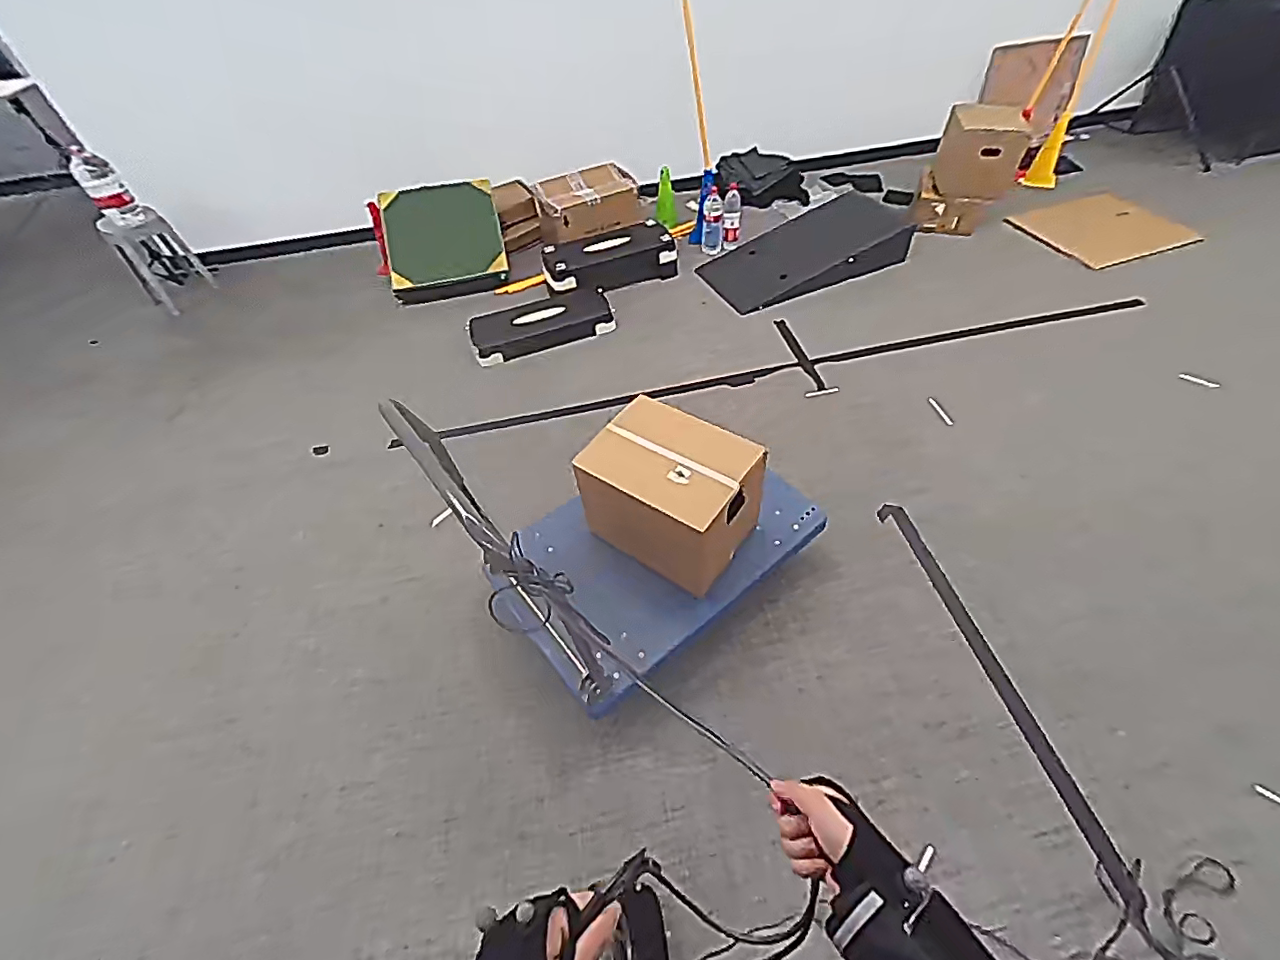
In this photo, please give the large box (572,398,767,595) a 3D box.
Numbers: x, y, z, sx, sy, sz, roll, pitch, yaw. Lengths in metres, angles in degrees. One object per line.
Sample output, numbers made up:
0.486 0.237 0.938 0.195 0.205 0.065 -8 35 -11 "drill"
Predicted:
0.081 0.040 1.478 0.408 0.320 0.320 27 58 25 "large box"
